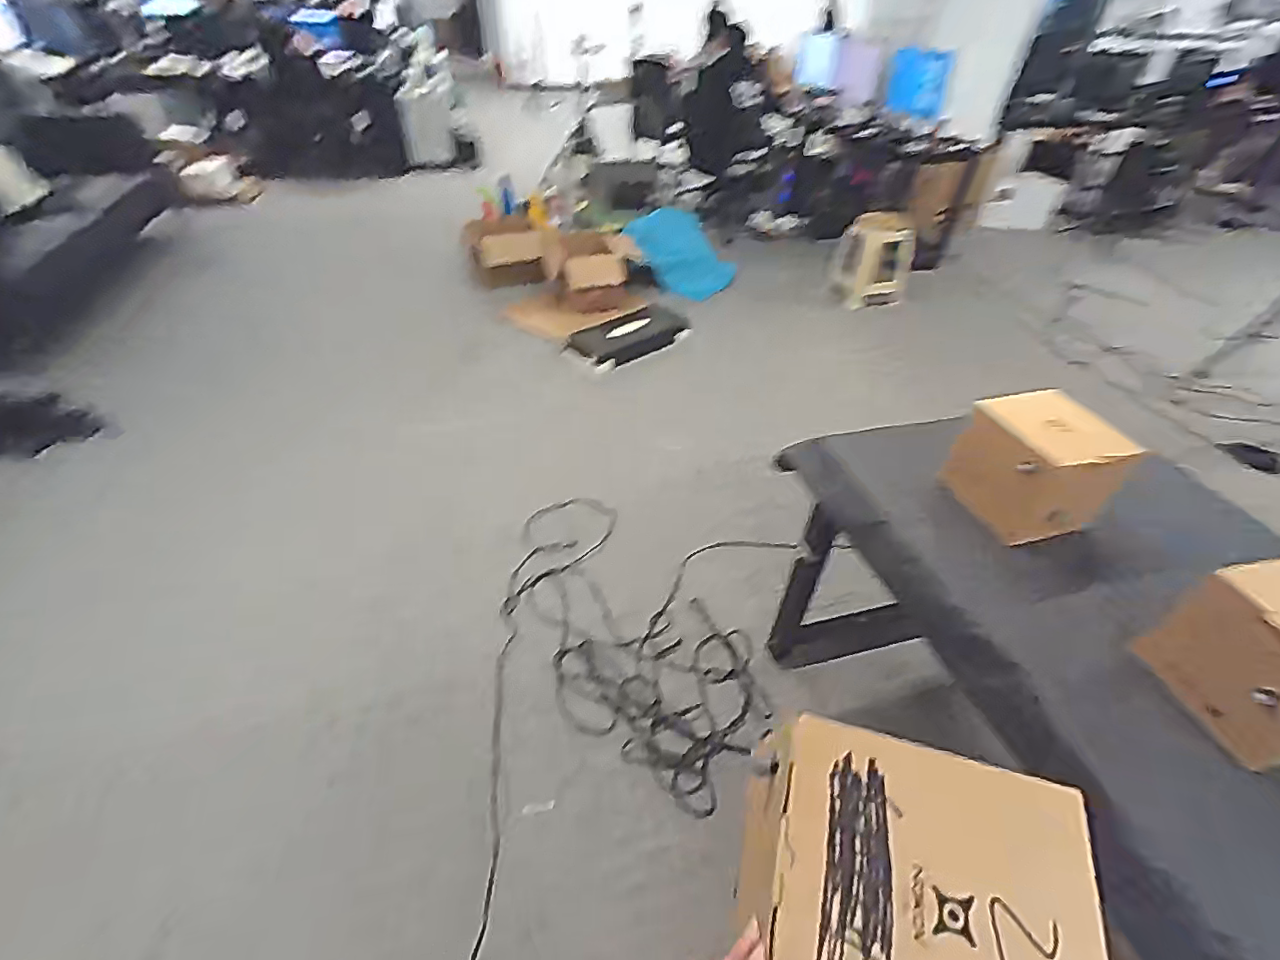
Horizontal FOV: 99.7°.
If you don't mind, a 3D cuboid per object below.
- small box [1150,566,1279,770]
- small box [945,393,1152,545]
[{"bbox_3d":[0.767,0.215,0.632,0.179,0.176,0.168,-5,43,-10],"label":"small box"},{"bbox_3d":[0.650,-0.020,0.889,0.168,0.176,0.179,-9,44,-14],"label":"small box"}]
